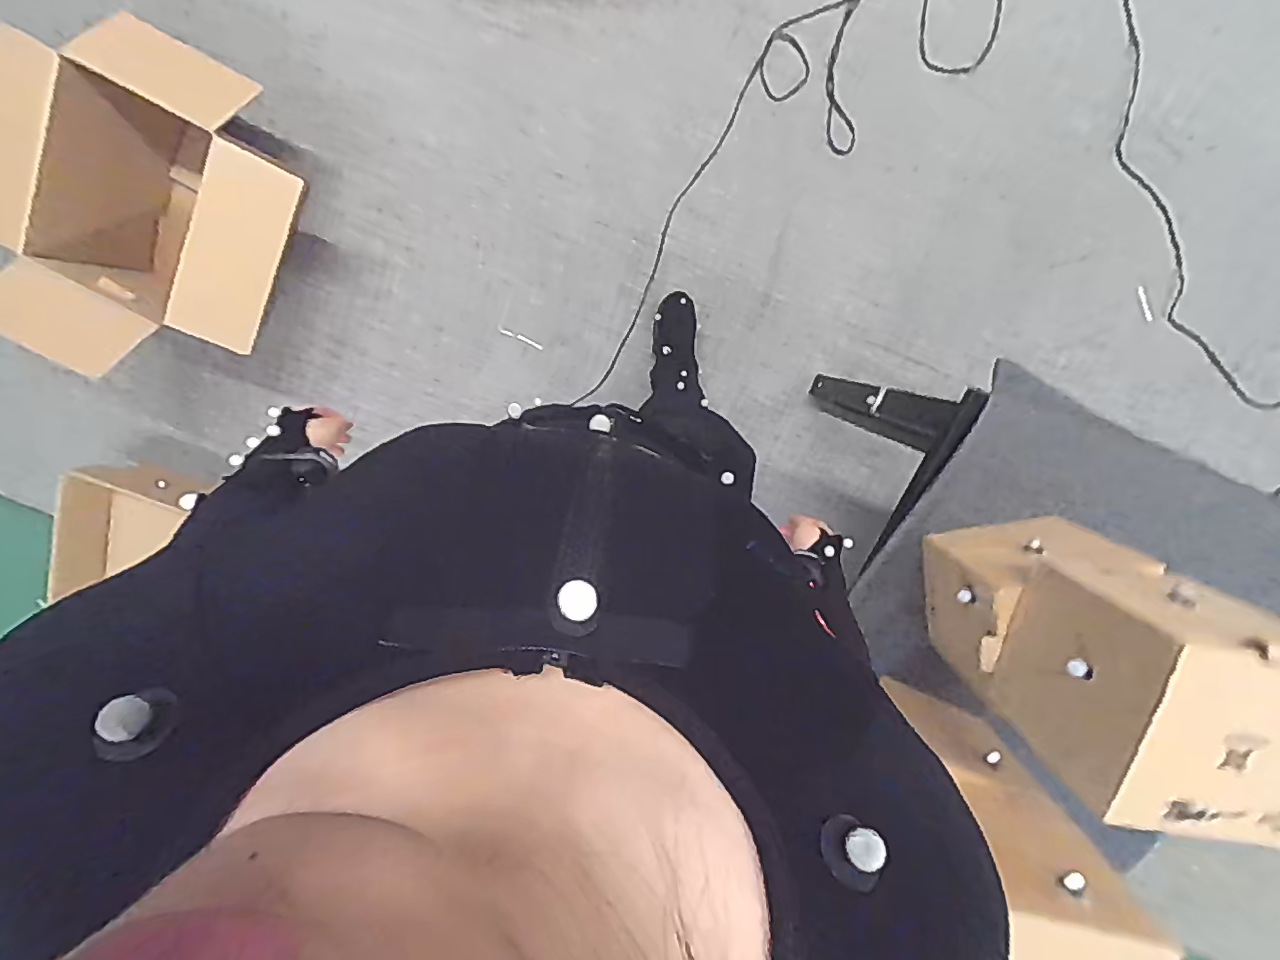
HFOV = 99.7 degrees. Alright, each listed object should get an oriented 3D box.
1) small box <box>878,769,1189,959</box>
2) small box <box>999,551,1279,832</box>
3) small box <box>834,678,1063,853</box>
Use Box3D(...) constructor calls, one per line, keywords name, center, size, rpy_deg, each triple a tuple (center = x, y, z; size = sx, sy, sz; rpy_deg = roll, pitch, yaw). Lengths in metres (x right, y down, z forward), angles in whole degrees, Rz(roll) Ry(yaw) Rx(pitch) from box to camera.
Box3D(name="small box", center=(0.392, 0.446, 0.578), size=(0.179, 0.176, 0.168), rpy_deg=(15, 103, -1))
Box3D(name="small box", center=(0.480, 0.180, 0.505), size=(0.168, 0.176, 0.179), rpy_deg=(9, 104, 0))
Box3D(name="small box", center=(0.400, 0.403, 0.734), size=(0.179, 0.176, 0.168), rpy_deg=(26, 103, -5))
